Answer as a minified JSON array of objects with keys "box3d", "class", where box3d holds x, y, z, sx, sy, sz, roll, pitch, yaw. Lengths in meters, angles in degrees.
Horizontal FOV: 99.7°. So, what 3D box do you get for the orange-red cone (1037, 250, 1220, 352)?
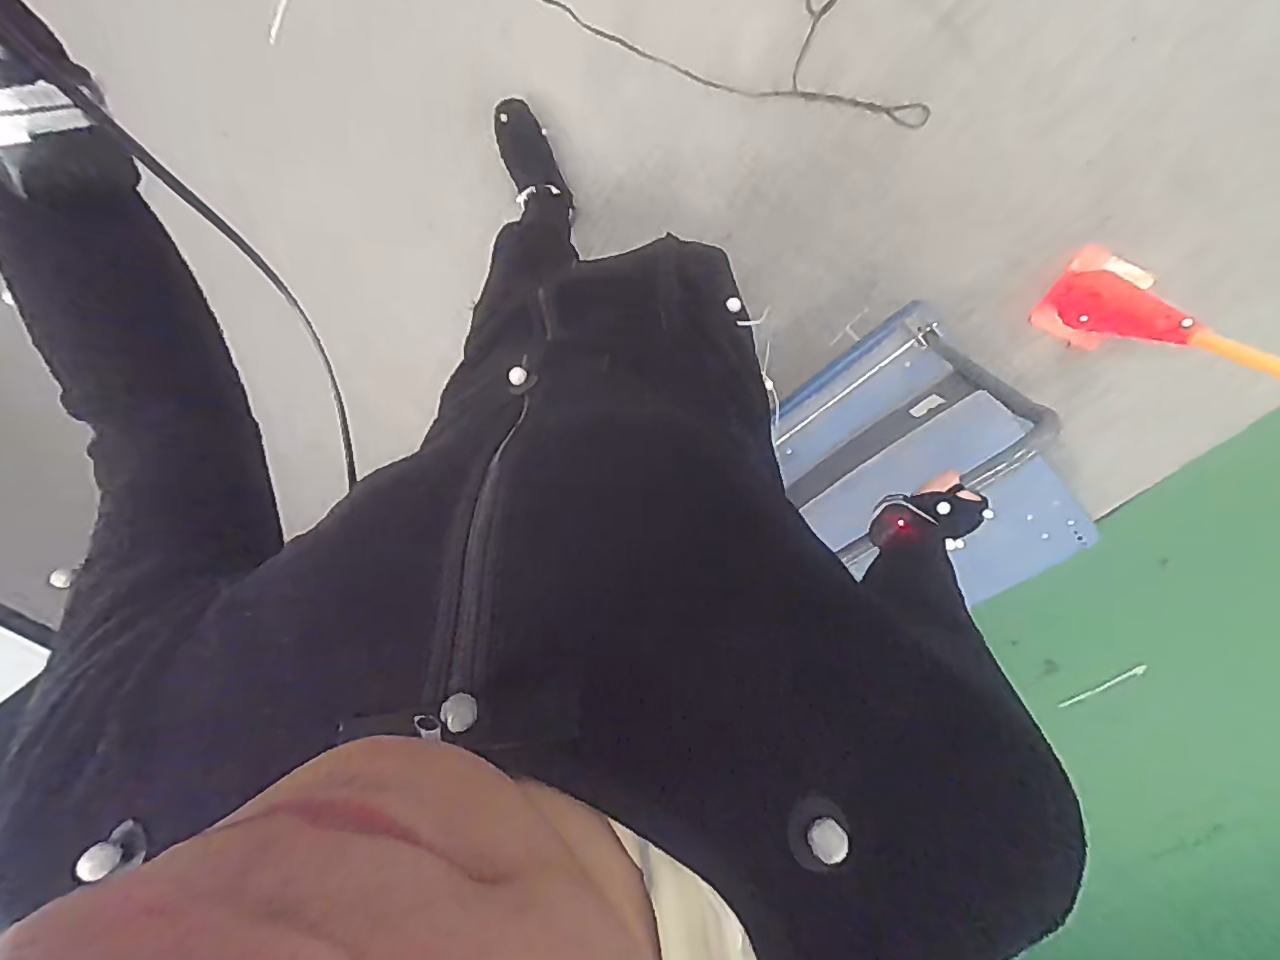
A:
[{"box3d":[1.099,-0.353,1.179,0.198,0.360,0.199,24,118,-7],"class":"orange-red cone"}]
